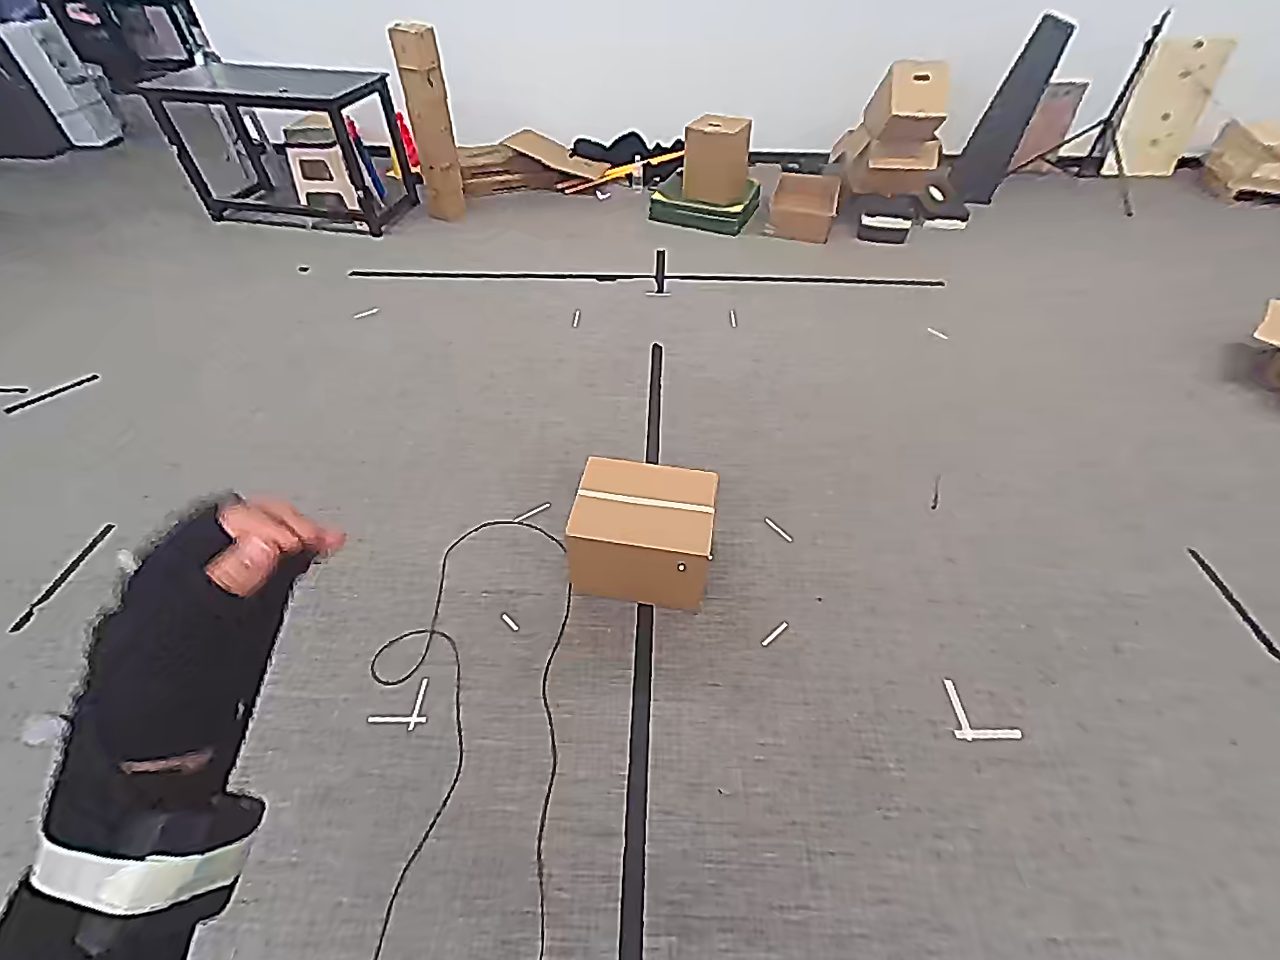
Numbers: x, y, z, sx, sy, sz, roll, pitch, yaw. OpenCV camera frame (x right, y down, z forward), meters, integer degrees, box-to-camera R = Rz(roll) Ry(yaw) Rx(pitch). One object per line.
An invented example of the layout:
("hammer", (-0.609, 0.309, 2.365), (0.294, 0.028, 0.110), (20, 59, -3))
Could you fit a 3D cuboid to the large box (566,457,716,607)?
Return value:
("large box", (0.012, 0.163, 1.672), (0.408, 0.320, 0.320), (8, 48, 5))
